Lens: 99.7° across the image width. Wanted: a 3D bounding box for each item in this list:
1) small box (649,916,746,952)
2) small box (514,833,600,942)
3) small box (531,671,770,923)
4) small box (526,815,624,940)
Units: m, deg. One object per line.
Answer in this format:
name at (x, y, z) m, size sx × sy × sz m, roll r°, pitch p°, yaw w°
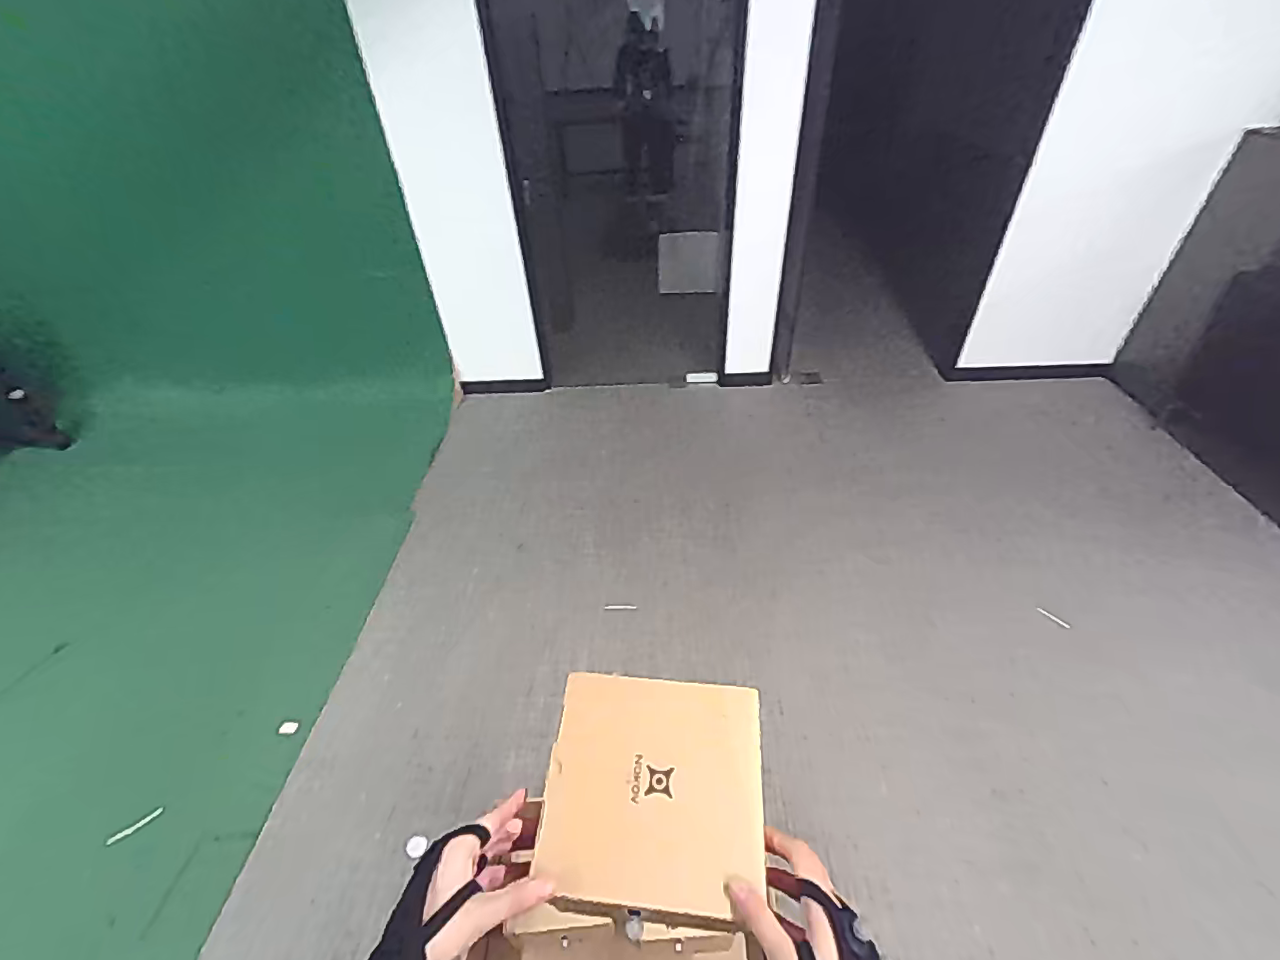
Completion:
small box at (0.099, 0.760, 1.021) m, size 0.168 × 0.176 × 0.179 m, roll -5°, pitch 41°, yaw 1°
small box at (-0.160, 0.873, 1.163) m, size 0.179 × 0.176 × 0.168 m, roll -3°, pitch 43°, yaw -2°
small box at (0.018, 0.295, 0.501) m, size 0.179 × 0.176 × 0.168 m, roll 1°, pitch 48°, yaw 7°
small box at (-0.119, 0.762, 1.041) m, size 0.168 × 0.176 × 0.179 m, roll -3°, pitch 43°, yaw -4°
